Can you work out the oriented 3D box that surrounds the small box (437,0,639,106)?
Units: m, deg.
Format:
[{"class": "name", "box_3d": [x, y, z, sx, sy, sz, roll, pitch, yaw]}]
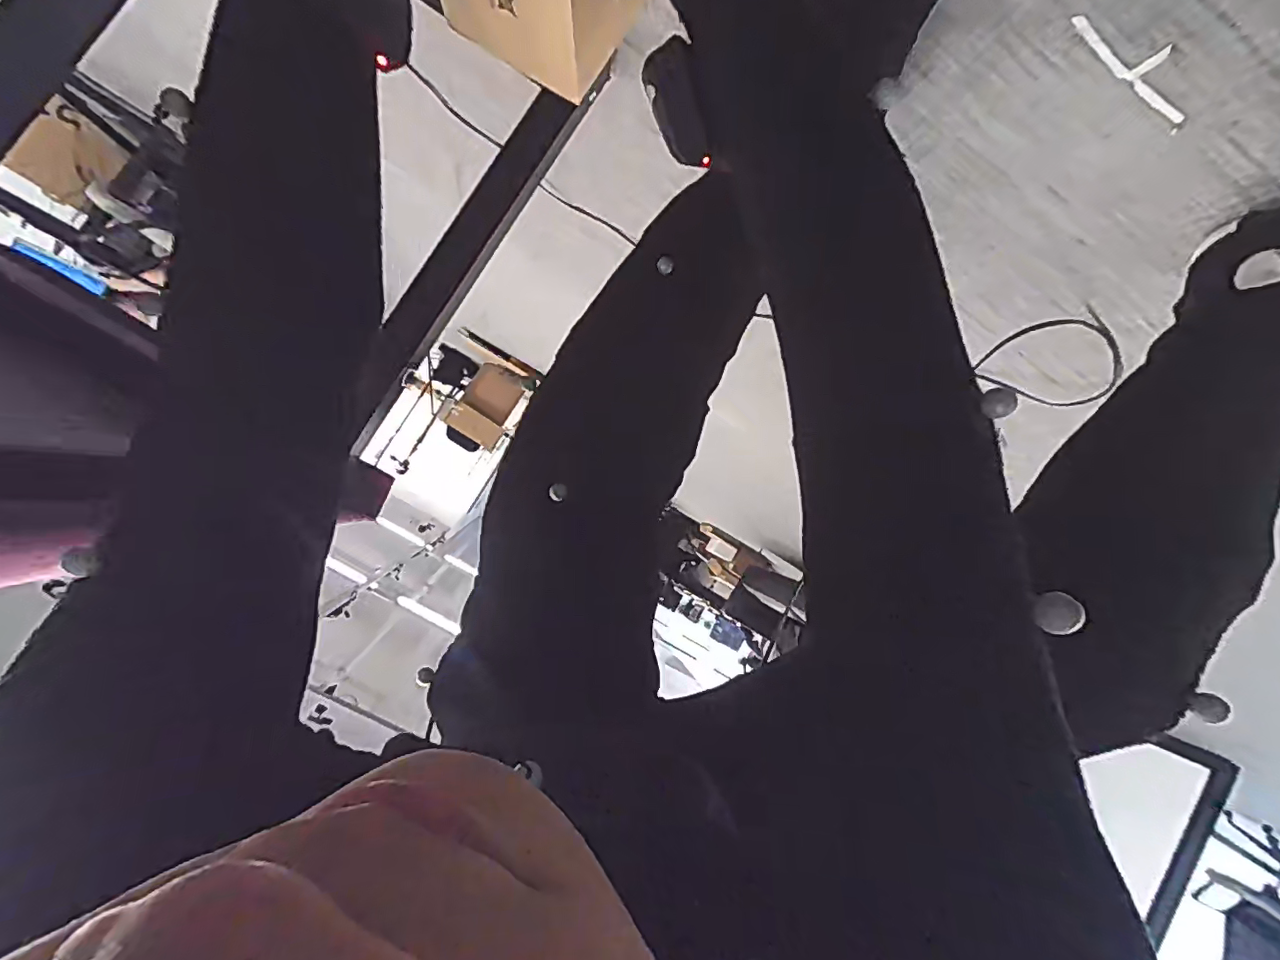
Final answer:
[{"class": "small box", "box_3d": [-0.095, -0.534, 0.529, 0.179, 0.176, 0.168, 31, 174, -1]}]
